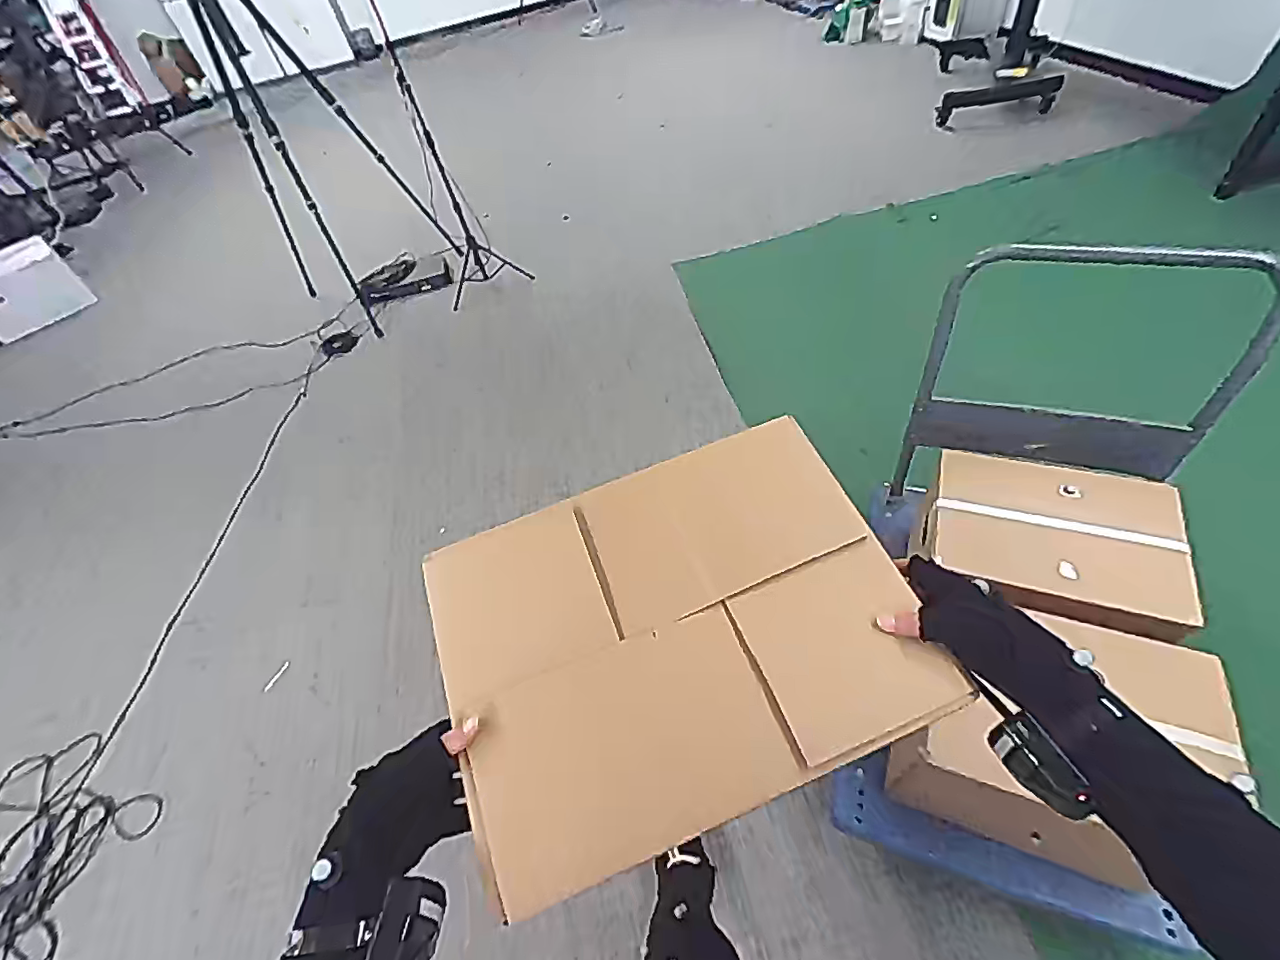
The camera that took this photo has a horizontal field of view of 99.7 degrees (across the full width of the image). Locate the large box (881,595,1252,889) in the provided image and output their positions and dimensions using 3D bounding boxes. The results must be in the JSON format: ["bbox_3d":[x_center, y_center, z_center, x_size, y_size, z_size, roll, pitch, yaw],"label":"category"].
[{"bbox_3d":[0.679,0.453,0.948,0.408,0.320,0.320,12,54,22],"label":"large box"}]
